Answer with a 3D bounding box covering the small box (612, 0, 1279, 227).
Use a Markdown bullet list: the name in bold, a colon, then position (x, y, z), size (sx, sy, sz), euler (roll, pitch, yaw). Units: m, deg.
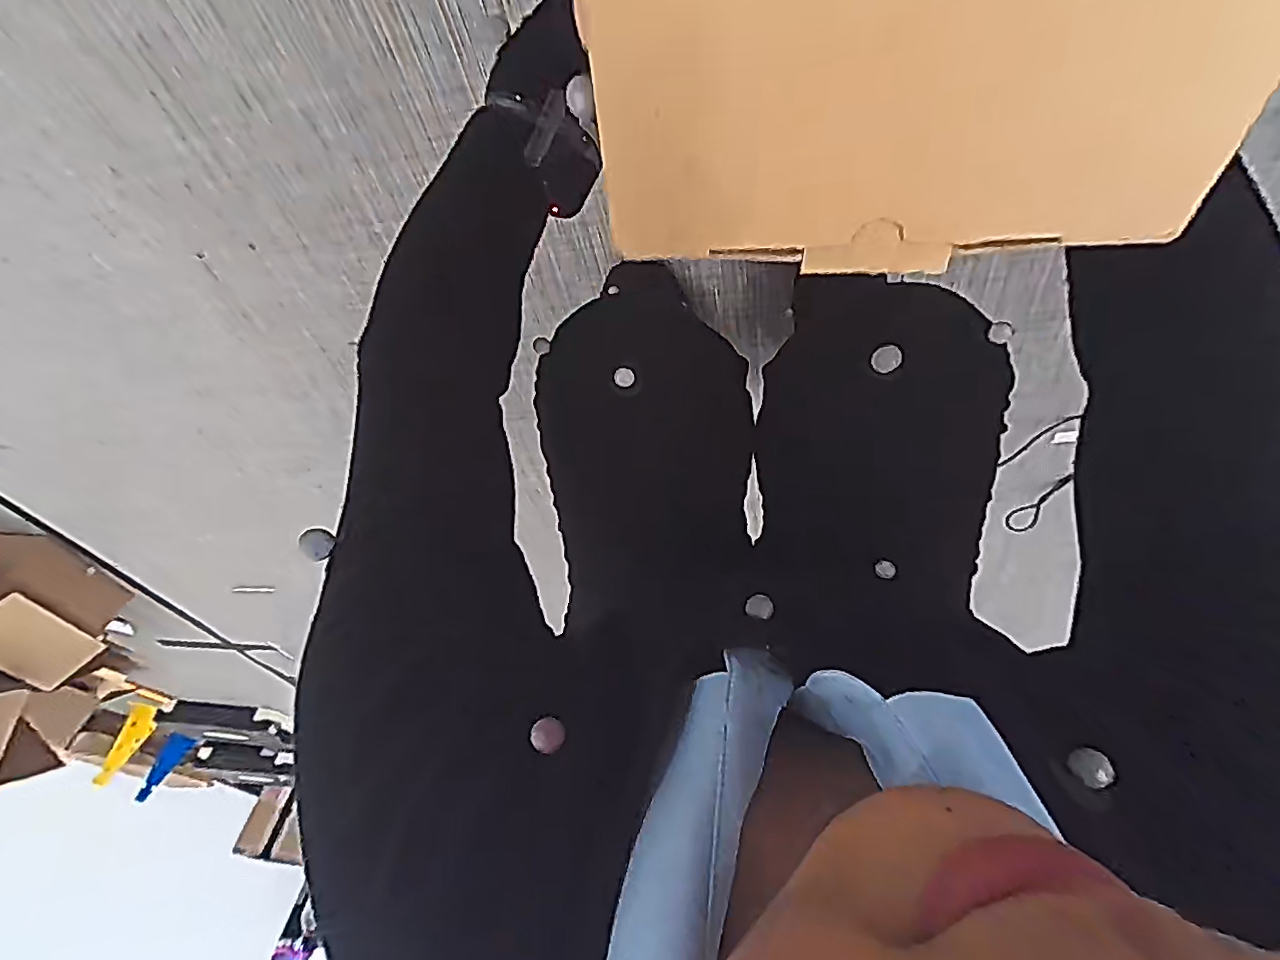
- **small box**: position (0.079, -0.194, 0.148), size (0.168, 0.176, 0.179), euler (1, 138, 8)
